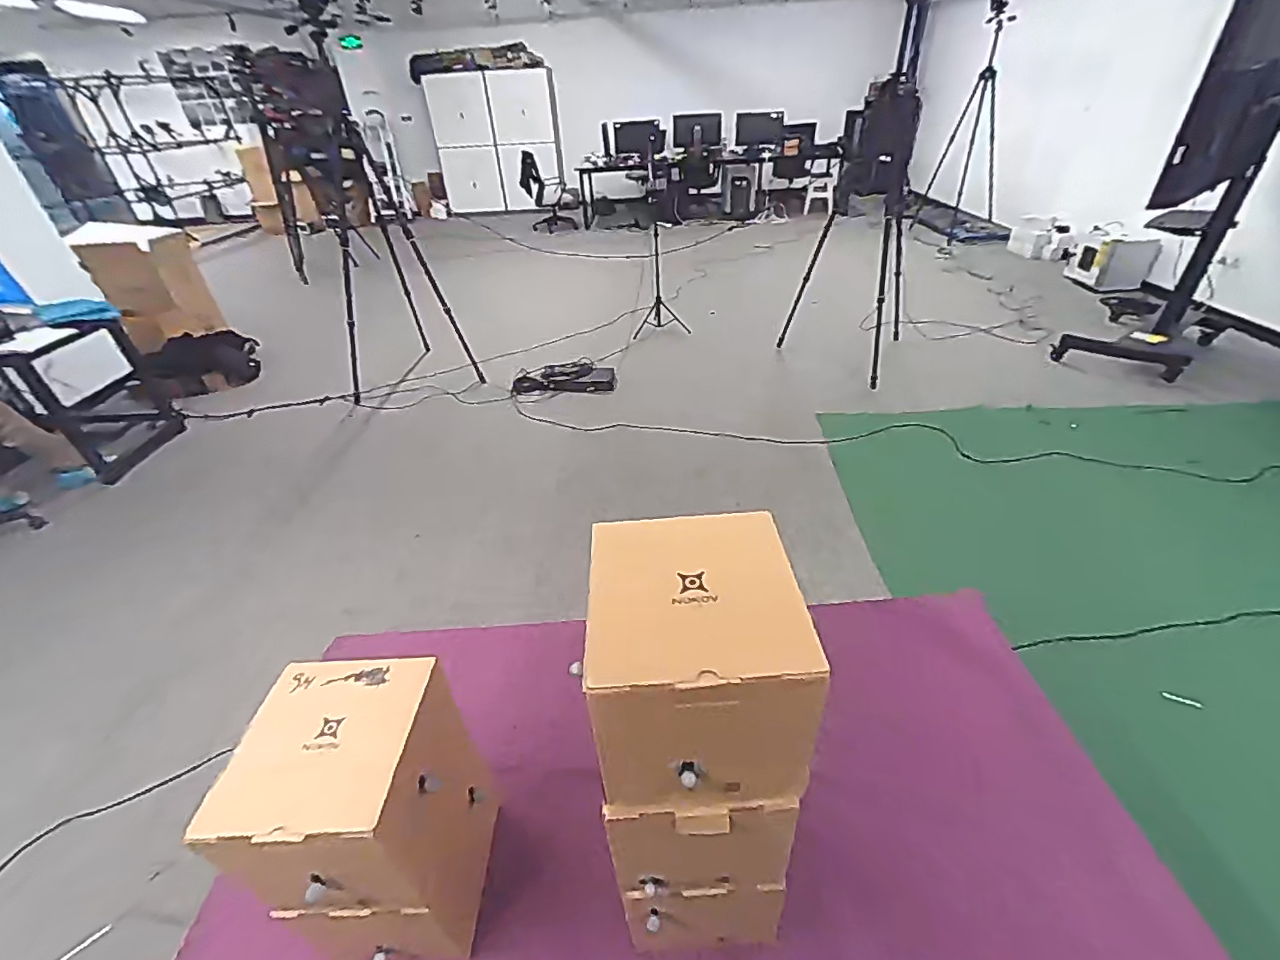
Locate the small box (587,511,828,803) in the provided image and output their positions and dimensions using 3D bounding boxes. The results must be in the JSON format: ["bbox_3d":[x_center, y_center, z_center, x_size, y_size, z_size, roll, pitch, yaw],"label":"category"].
[{"bbox_3d":[0.046,0.149,0.475,0.168,0.176,0.179,-4,35,-1],"label":"small box"}]

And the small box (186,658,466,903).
[{"bbox_3d":[-0.294,0.312,0.560,0.168,0.176,0.179,-3,36,1],"label":"small box"}]

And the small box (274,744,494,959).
[{"bbox_3d":[-0.284,0.448,0.652,0.168,0.176,0.179,-4,35,1],"label":"small box"}]

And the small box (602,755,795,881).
[{"bbox_3d":[0.053,0.287,0.560,0.168,0.176,0.179,-4,34,0],"label":"small box"}]
